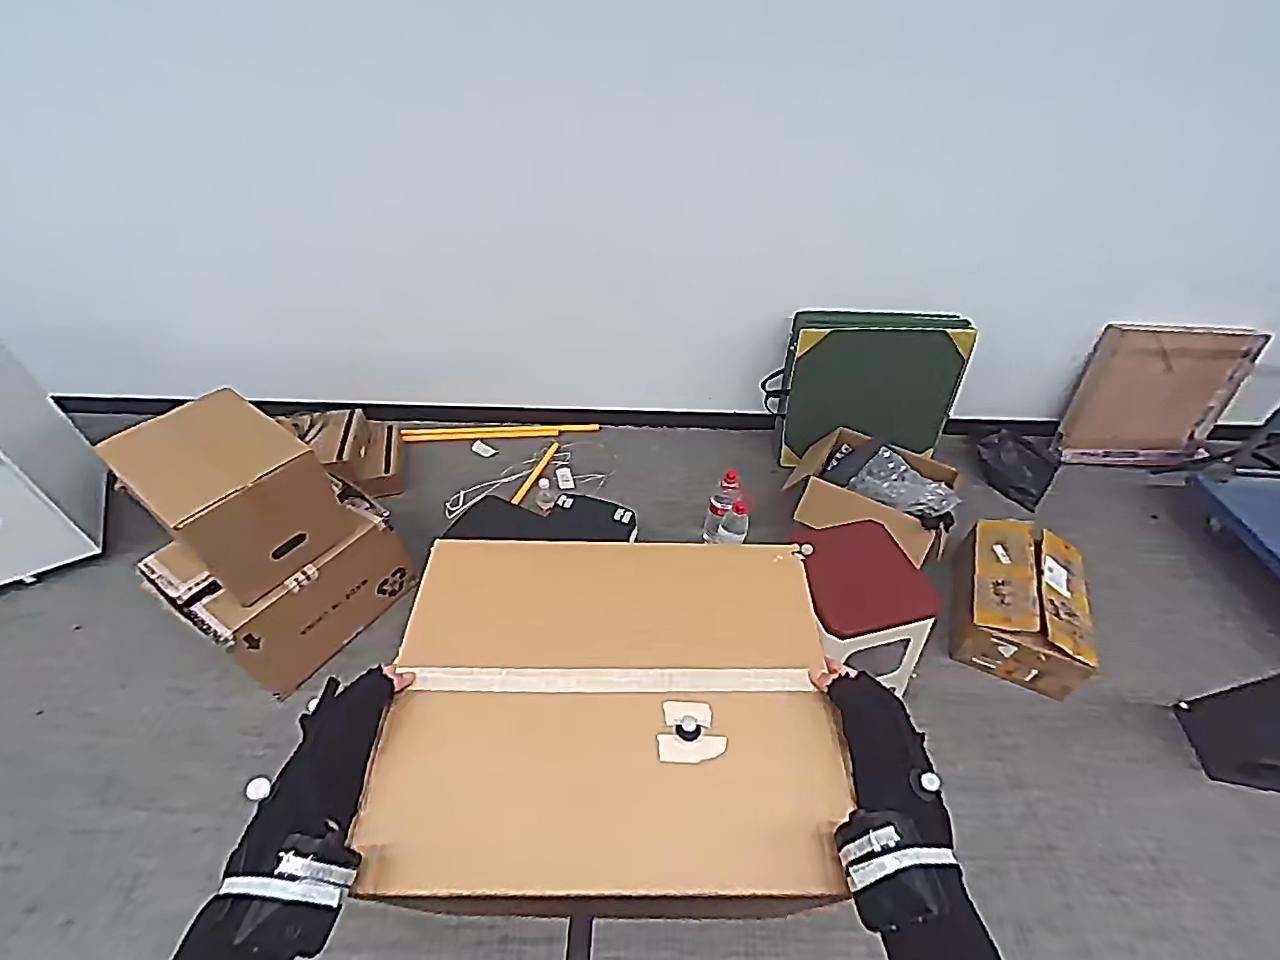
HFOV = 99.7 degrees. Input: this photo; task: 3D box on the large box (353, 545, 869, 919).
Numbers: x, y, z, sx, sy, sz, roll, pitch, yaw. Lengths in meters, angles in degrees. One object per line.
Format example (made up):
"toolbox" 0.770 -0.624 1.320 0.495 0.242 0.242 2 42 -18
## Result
"large box" -0.027 0.290 0.618 0.408 0.320 0.320 2 49 -2
